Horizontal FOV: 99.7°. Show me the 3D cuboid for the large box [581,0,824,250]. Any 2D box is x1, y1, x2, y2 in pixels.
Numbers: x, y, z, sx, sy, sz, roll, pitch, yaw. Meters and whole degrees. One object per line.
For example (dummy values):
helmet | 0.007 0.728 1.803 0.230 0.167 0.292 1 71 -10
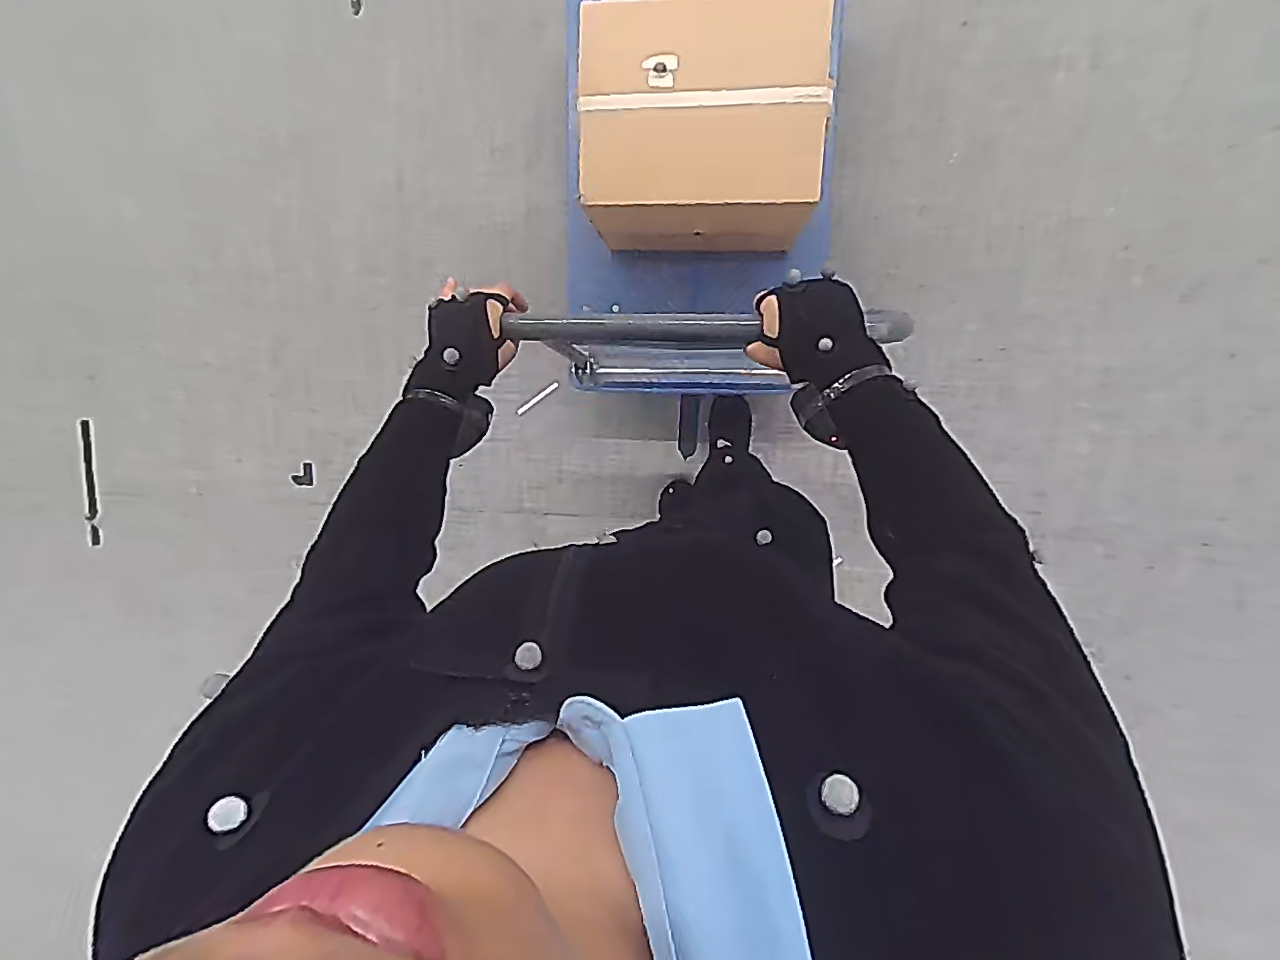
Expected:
large box | 0.117 -0.649 1.051 0.408 0.320 0.320 2 98 7
